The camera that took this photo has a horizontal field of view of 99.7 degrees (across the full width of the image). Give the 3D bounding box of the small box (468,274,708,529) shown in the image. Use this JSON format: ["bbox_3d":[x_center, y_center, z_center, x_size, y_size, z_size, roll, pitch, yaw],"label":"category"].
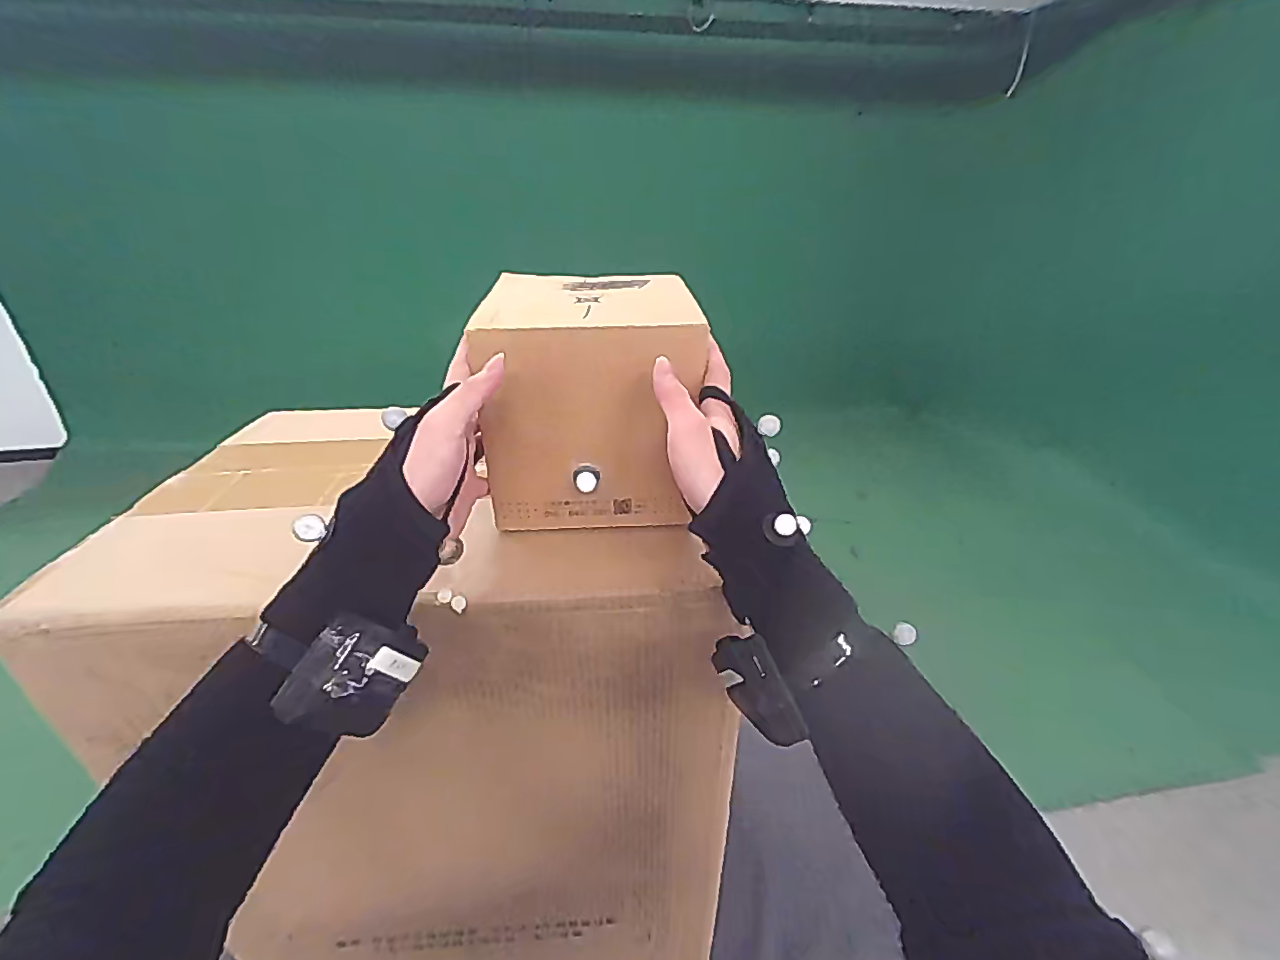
[{"bbox_3d":[-0.039,-0.075,0.474,0.168,0.176,0.179,-1,33,-3],"label":"small box"}]
